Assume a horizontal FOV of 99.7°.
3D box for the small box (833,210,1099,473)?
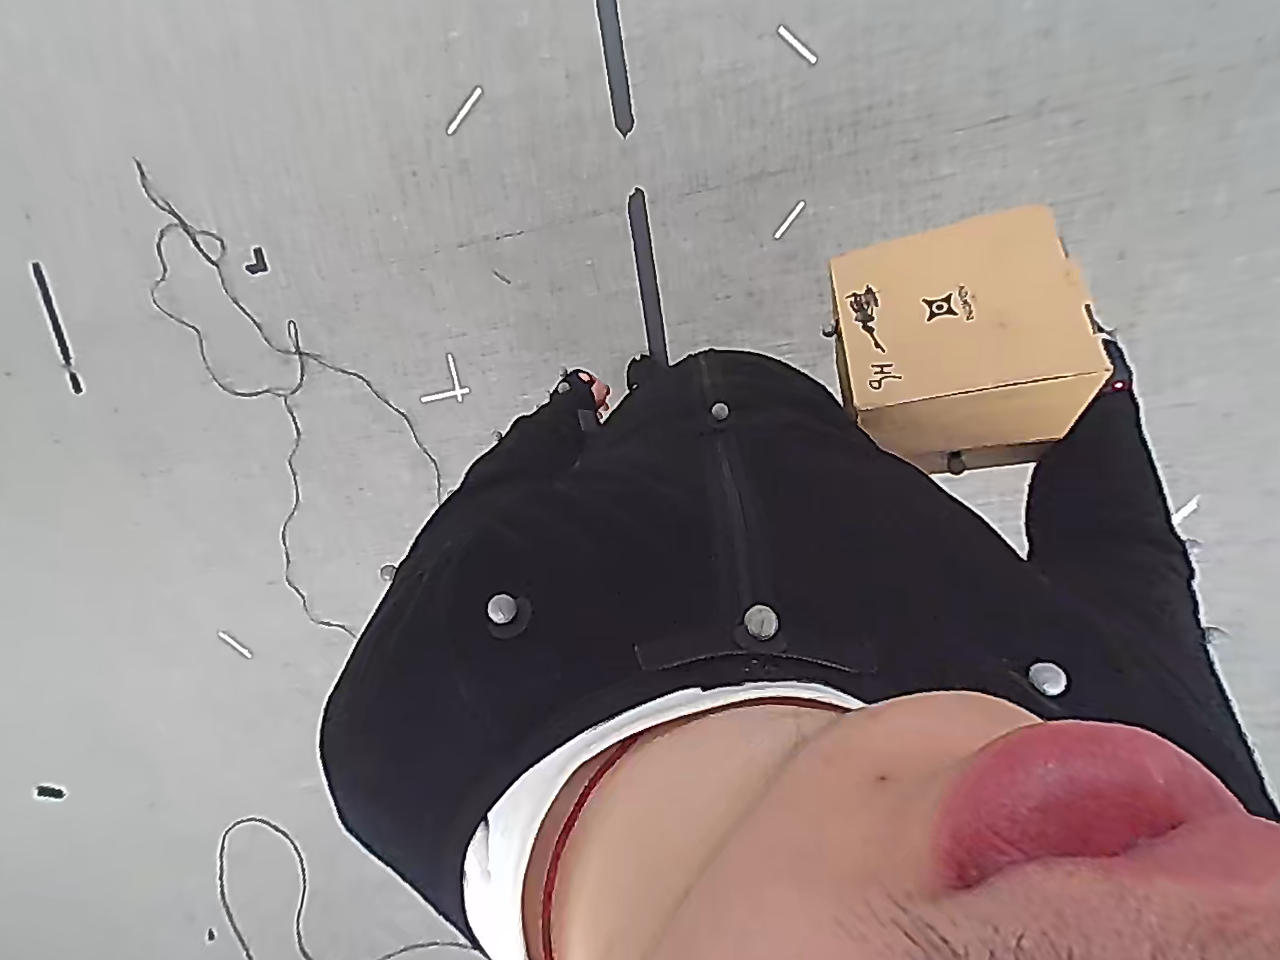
[{"bbox_3d":[0.291,-0.118,0.529,0.179,0.176,0.168,-8,65,19],"label":"small box"}]
